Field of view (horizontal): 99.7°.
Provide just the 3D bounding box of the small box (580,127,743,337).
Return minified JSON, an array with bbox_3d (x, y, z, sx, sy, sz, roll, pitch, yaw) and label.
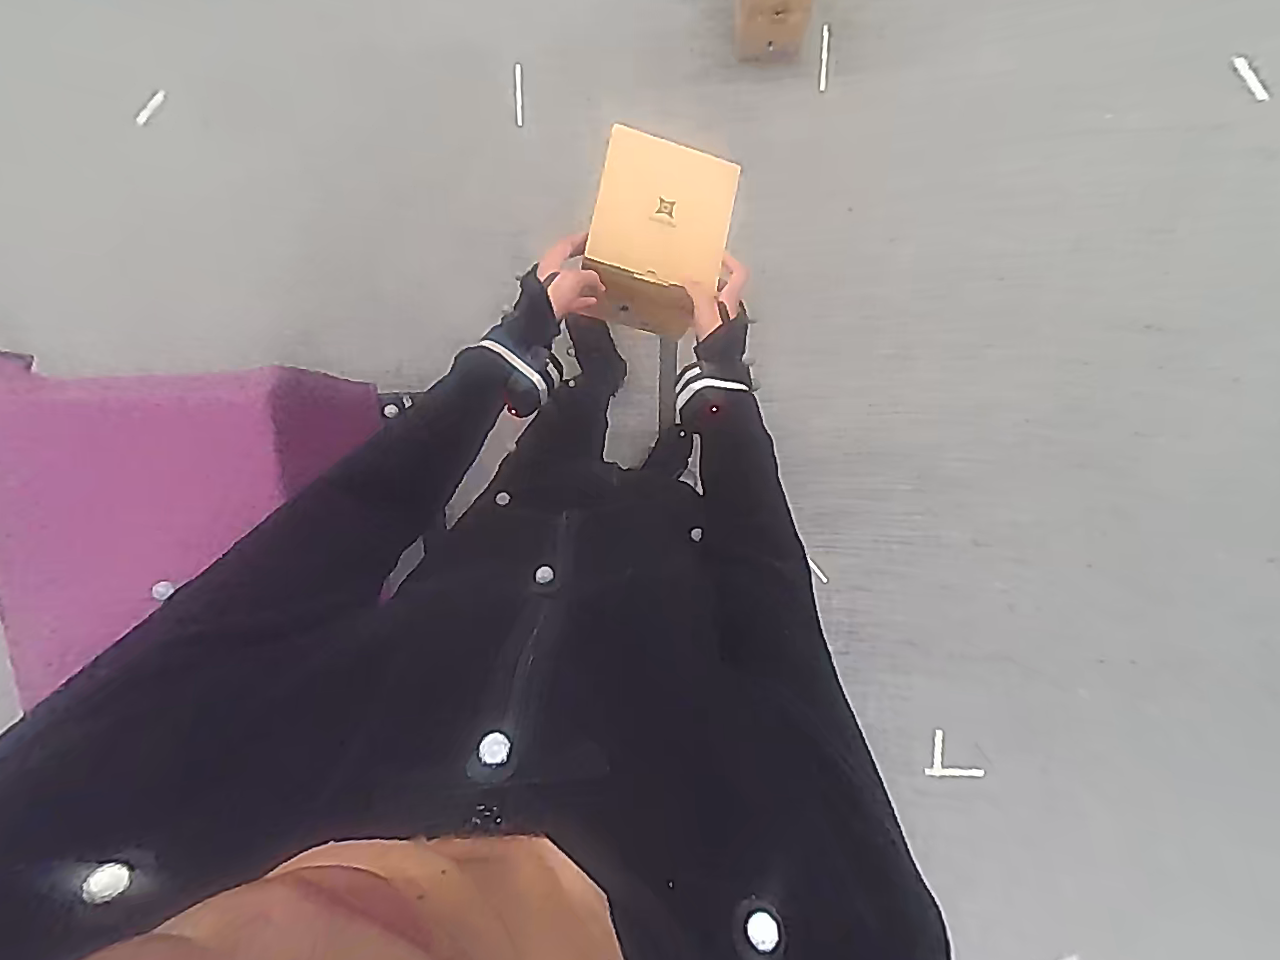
[{"bbox_3d":[0.018,-0.317,0.729,0.168,0.176,0.179,13,86,-10],"label":"small box"}]
